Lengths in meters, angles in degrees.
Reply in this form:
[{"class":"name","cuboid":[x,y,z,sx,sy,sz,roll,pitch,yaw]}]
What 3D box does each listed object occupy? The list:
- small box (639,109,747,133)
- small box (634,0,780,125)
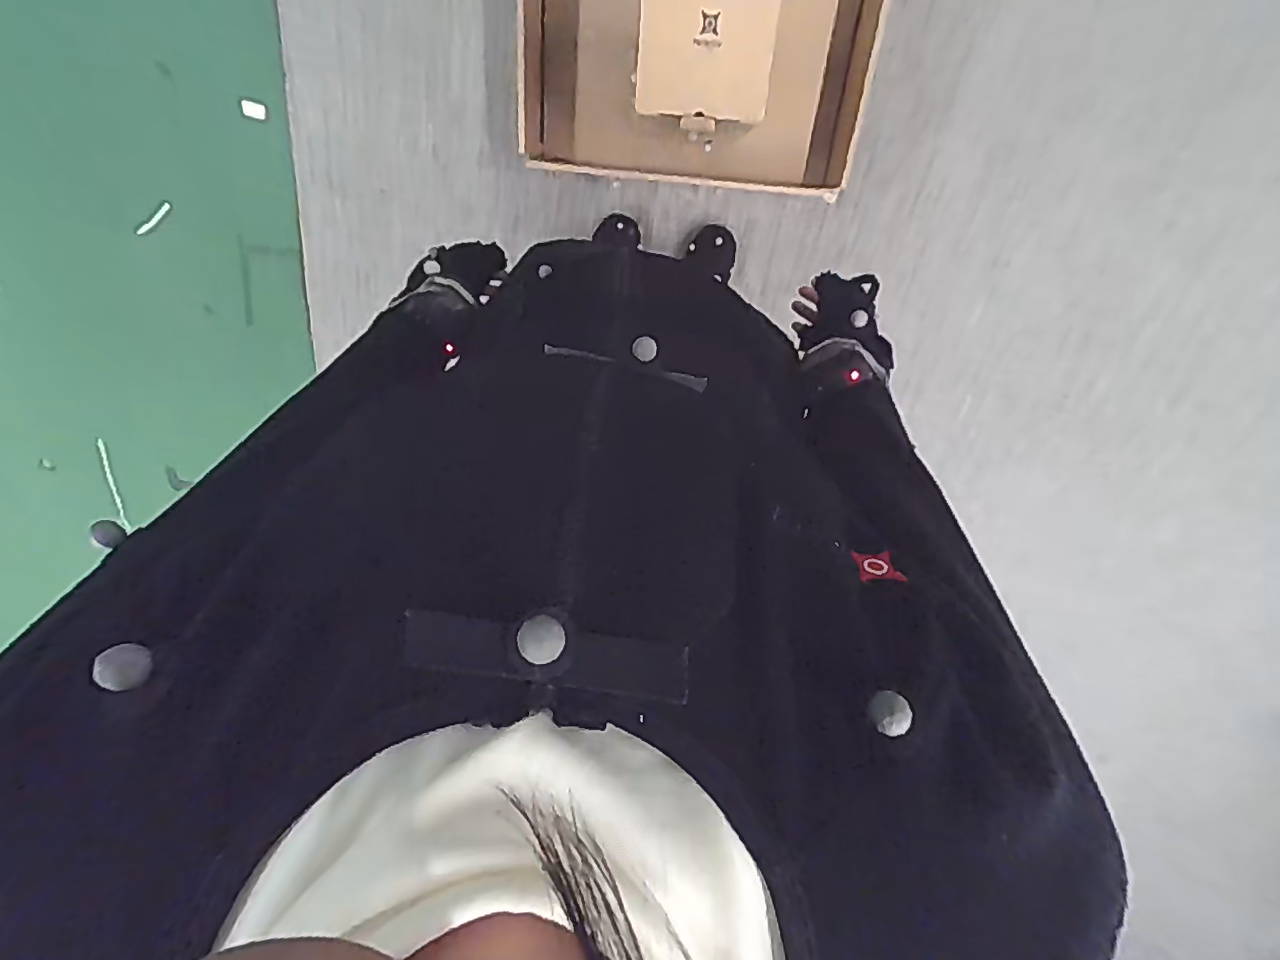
[{"class":"small box","cuboid":[0.088,-0.652,0.844,0.168,0.176,0.179,3,119,1]},{"class":"small box","cuboid":[0.085,-0.583,0.714,0.168,0.176,0.179,5,119,-1]}]
